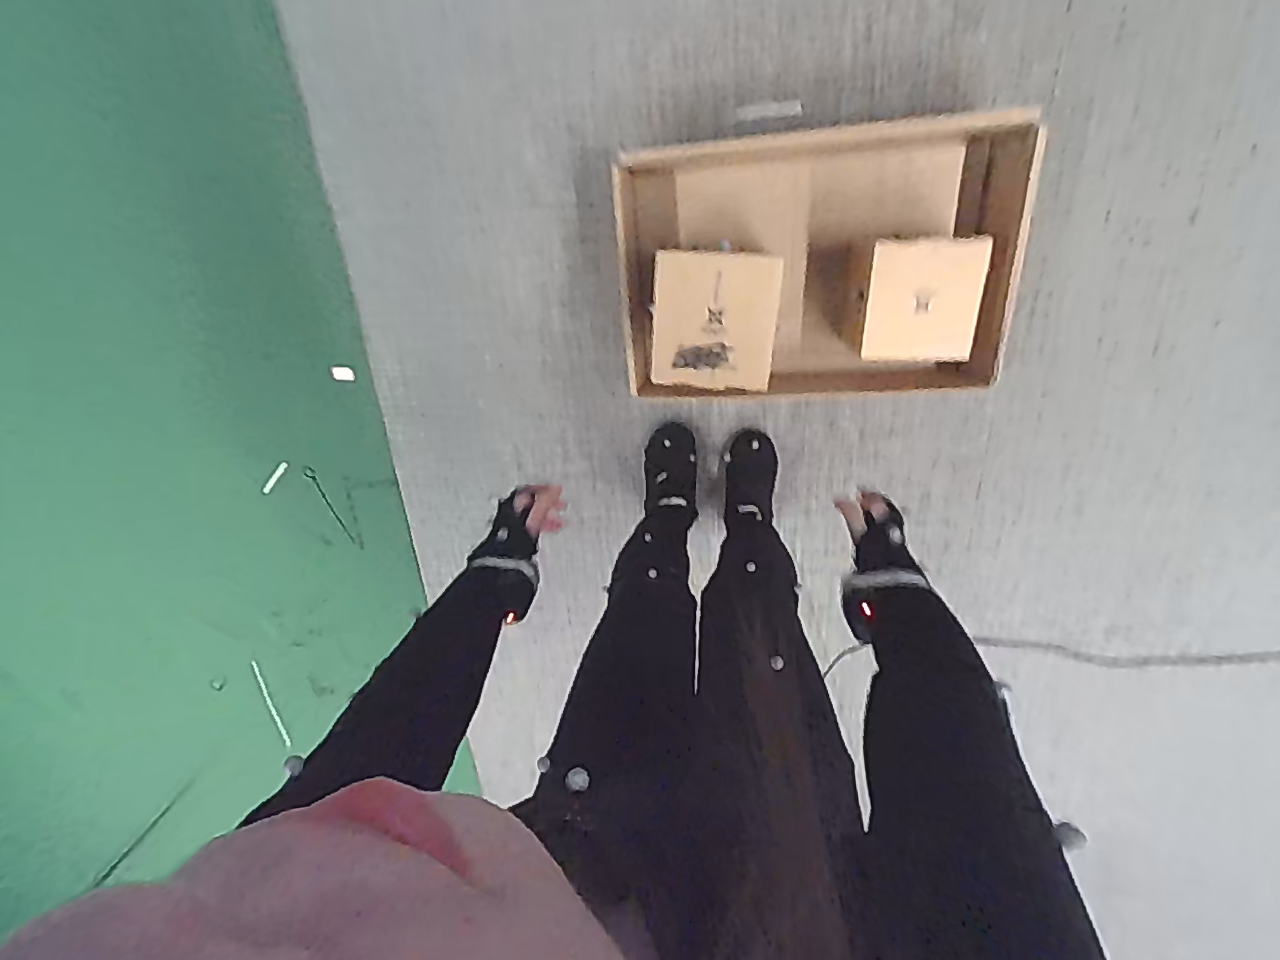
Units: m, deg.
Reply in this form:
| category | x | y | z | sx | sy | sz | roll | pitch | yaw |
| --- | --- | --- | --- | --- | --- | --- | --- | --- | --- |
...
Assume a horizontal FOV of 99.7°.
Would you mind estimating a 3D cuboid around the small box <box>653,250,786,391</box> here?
| category | x | y | z | sx | sy | sz | roll | pitch | yaw |
| --- | --- | --- | --- | --- | --- | --- | --- | --- | --- |
| small box | 0.115 | -0.243 | 0.805 | 0.168 | 0.176 | 0.179 | 6 | 113 | 6 |
